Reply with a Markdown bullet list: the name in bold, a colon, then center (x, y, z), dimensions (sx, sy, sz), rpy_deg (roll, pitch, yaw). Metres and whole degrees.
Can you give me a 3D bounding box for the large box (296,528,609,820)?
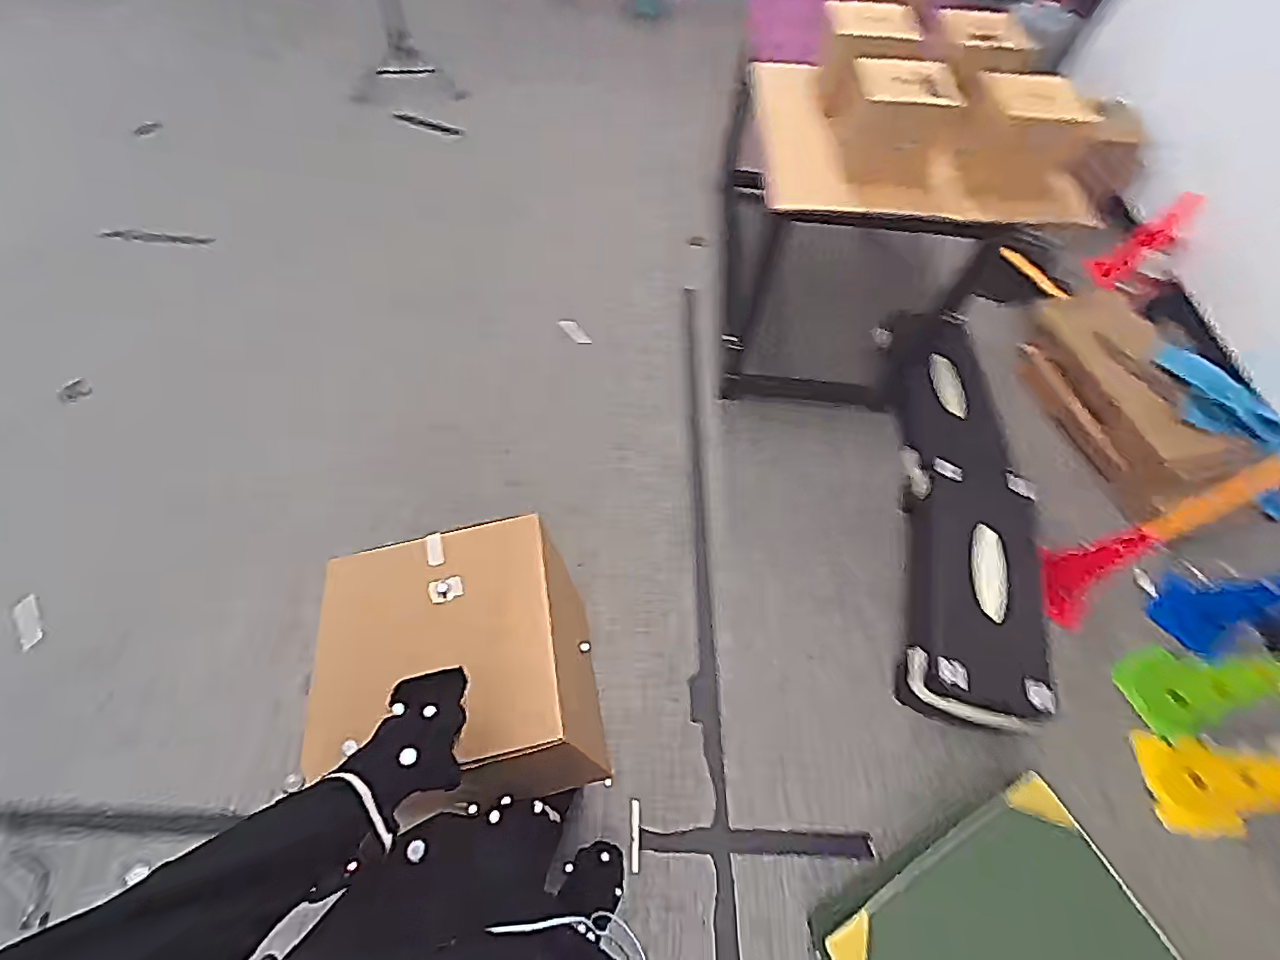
- **large box**: center (-0.258, 0.326, 0.862), dimensions (0.320, 0.408, 0.320), rpy_deg (-13, 57, -1)
